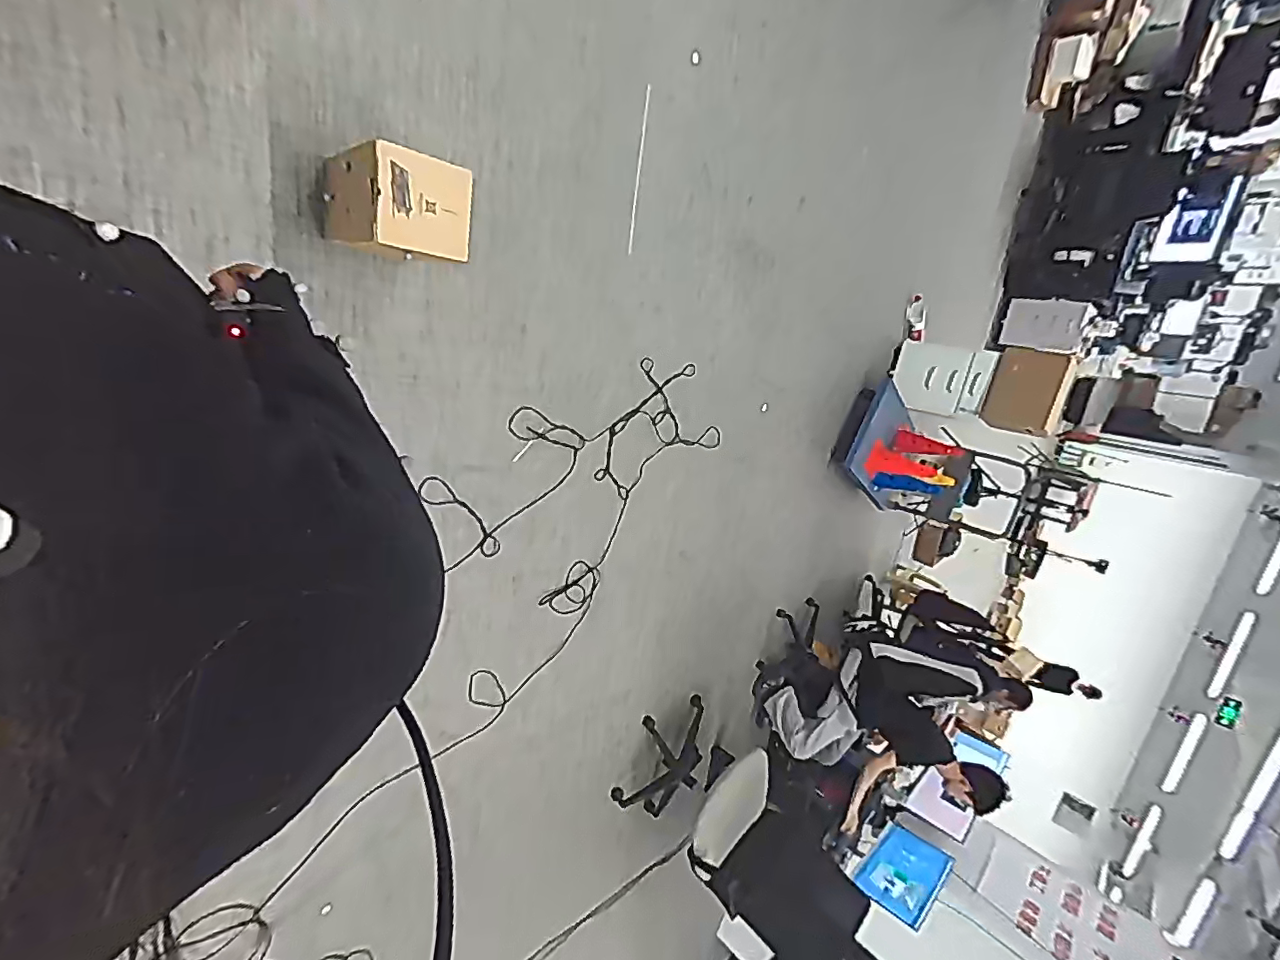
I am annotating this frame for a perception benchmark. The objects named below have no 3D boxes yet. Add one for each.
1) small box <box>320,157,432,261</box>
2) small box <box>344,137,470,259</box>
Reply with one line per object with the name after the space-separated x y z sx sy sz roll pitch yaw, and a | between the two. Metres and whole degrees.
-0.554 -0.572 1.148 0.179 0.176 0.168 -4 108 -46 | small box
-0.449 -0.523 1.031 0.179 0.176 0.168 -8 111 -46 | small box
